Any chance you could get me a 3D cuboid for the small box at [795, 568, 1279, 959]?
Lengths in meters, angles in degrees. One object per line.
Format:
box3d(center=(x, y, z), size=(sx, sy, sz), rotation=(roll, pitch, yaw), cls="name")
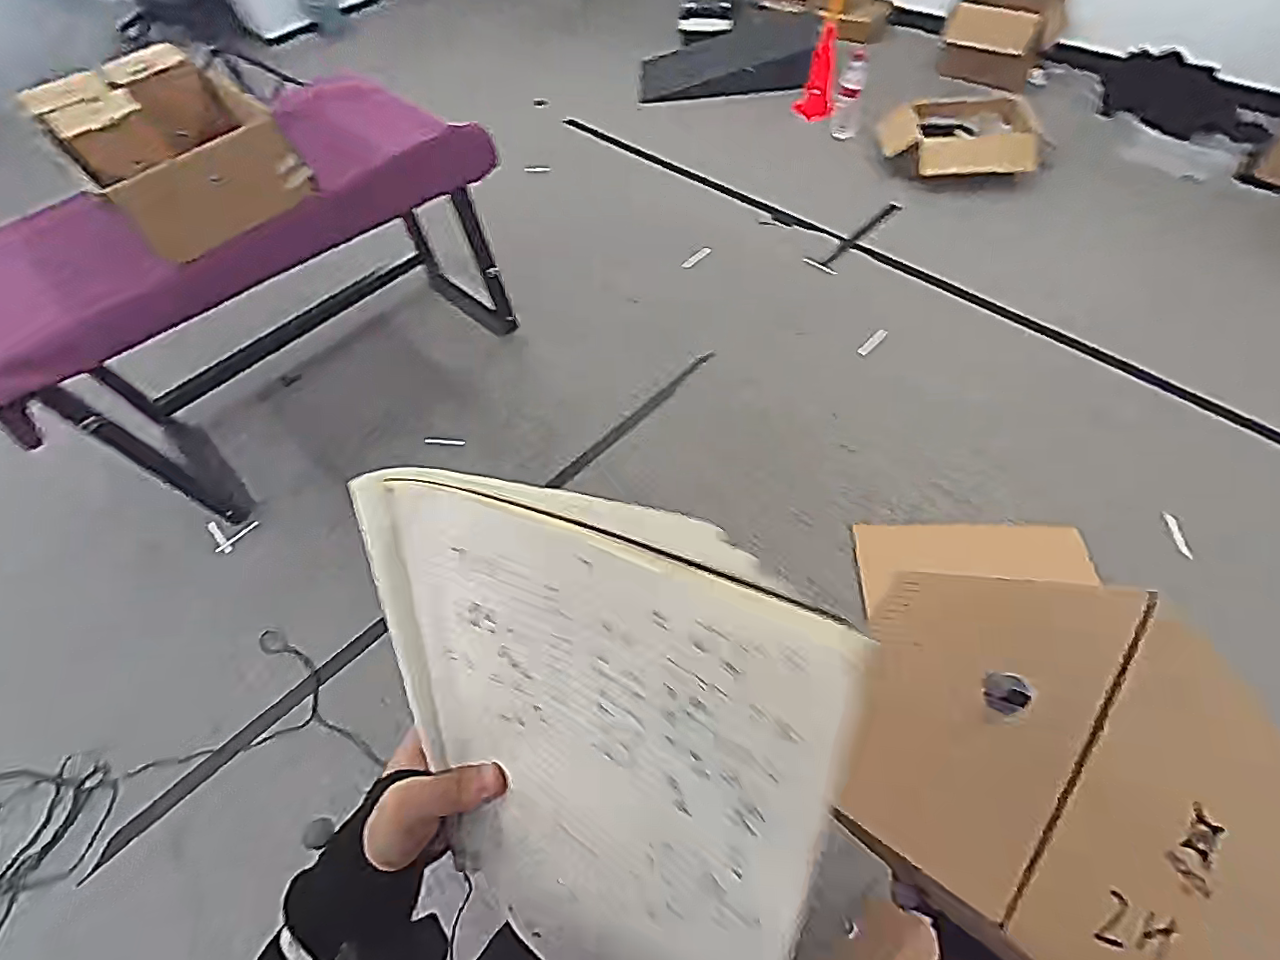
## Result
box3d(center=(0.229, 0.167, 0.326), size=(0.168, 0.176, 0.179), rotation=(43, 73, -8), cls="small box")
